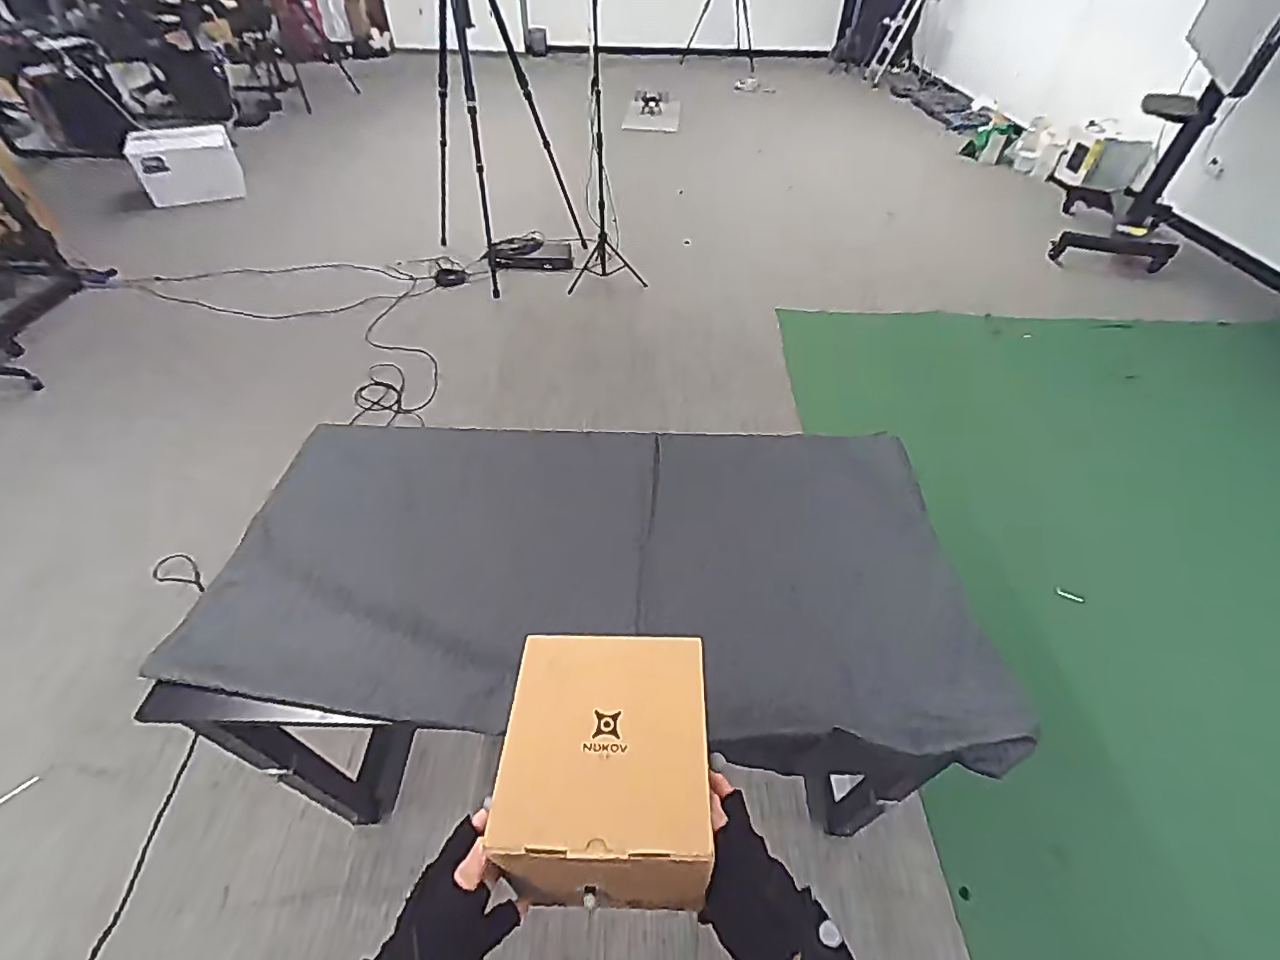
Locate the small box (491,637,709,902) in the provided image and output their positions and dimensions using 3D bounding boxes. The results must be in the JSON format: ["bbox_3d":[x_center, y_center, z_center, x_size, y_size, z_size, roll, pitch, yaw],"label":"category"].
[{"bbox_3d":[-0.026,0.271,0.511,0.168,0.176,0.179,0,44,2],"label":"small box"}]
